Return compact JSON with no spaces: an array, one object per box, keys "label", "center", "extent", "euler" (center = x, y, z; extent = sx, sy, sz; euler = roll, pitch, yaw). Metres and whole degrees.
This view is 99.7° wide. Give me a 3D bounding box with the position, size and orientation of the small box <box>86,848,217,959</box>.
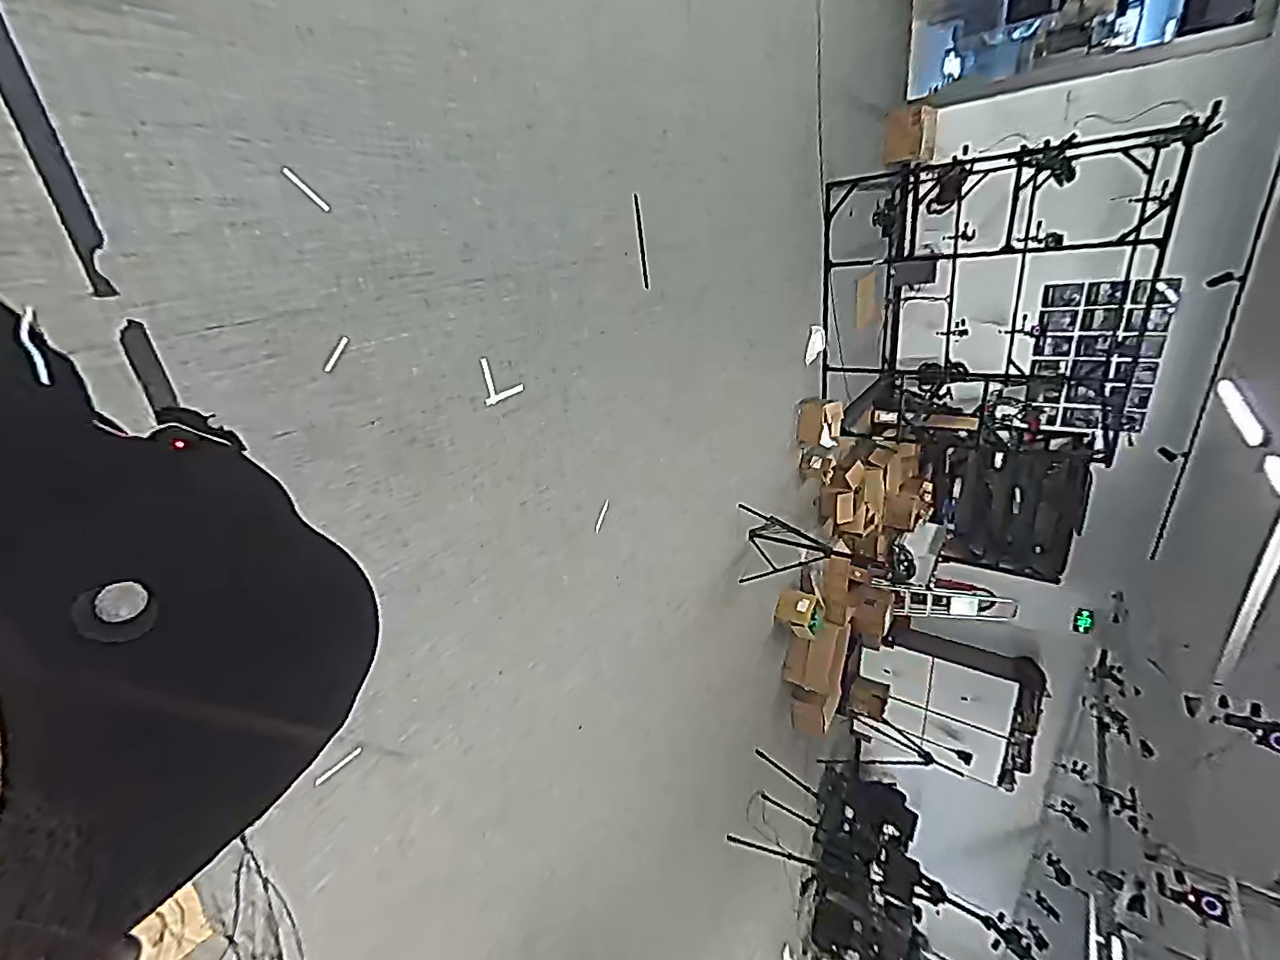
[{"label":"small box","center":[-1.115,0.989,1.235],"extent":[0.168,0.176,0.179],"euler":[-25,119,-48]}]
